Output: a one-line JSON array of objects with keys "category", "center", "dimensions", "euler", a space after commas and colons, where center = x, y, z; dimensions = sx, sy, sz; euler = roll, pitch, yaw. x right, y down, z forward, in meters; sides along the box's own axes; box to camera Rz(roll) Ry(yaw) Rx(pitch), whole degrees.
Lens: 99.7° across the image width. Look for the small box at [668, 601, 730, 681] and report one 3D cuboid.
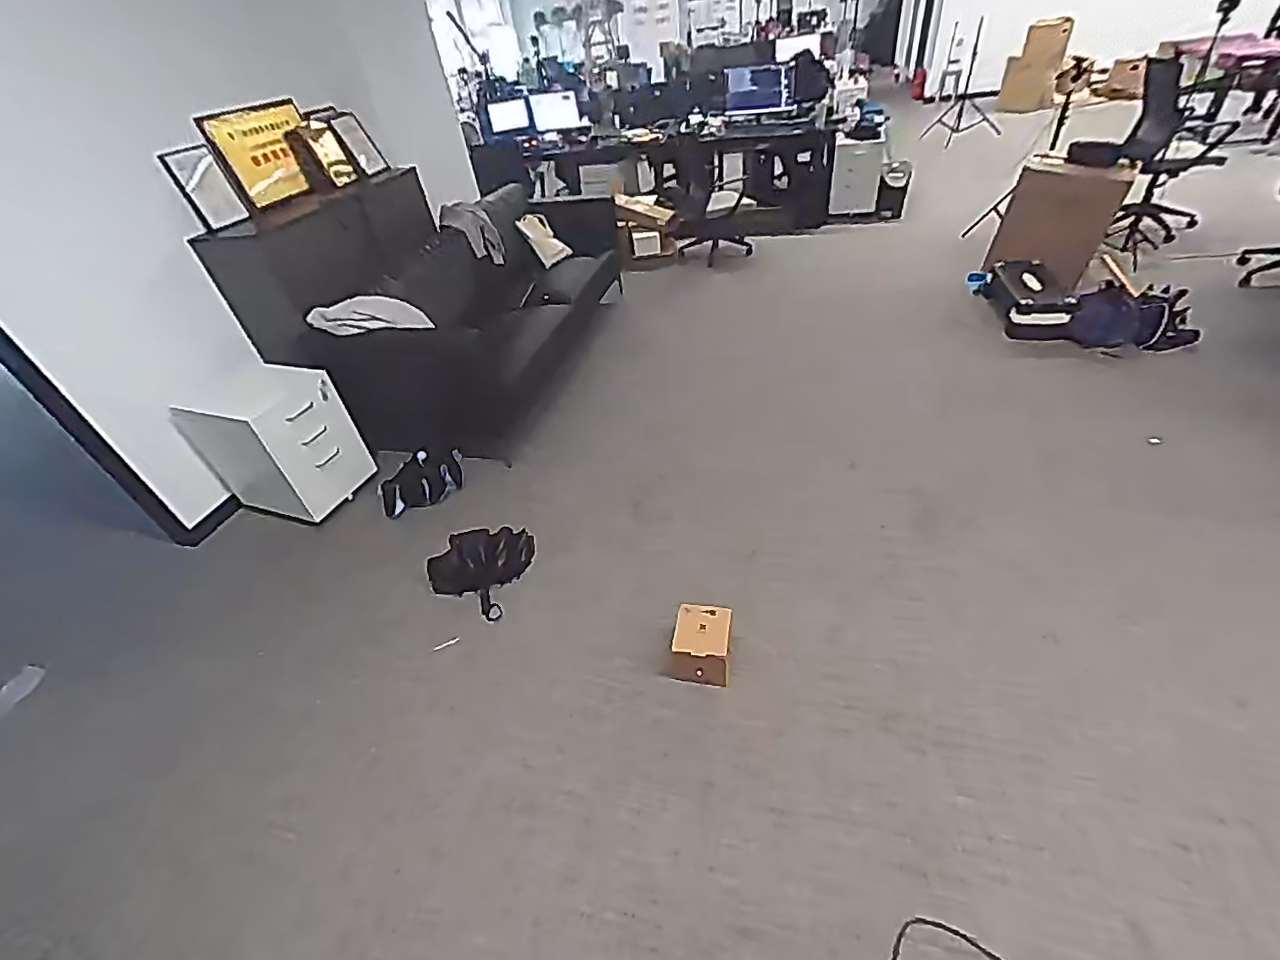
[{"category": "small box", "center": [0.190, 0.505, 1.691], "dimensions": [0.168, 0.176, 0.179], "euler": [3, 43, 14]}]
